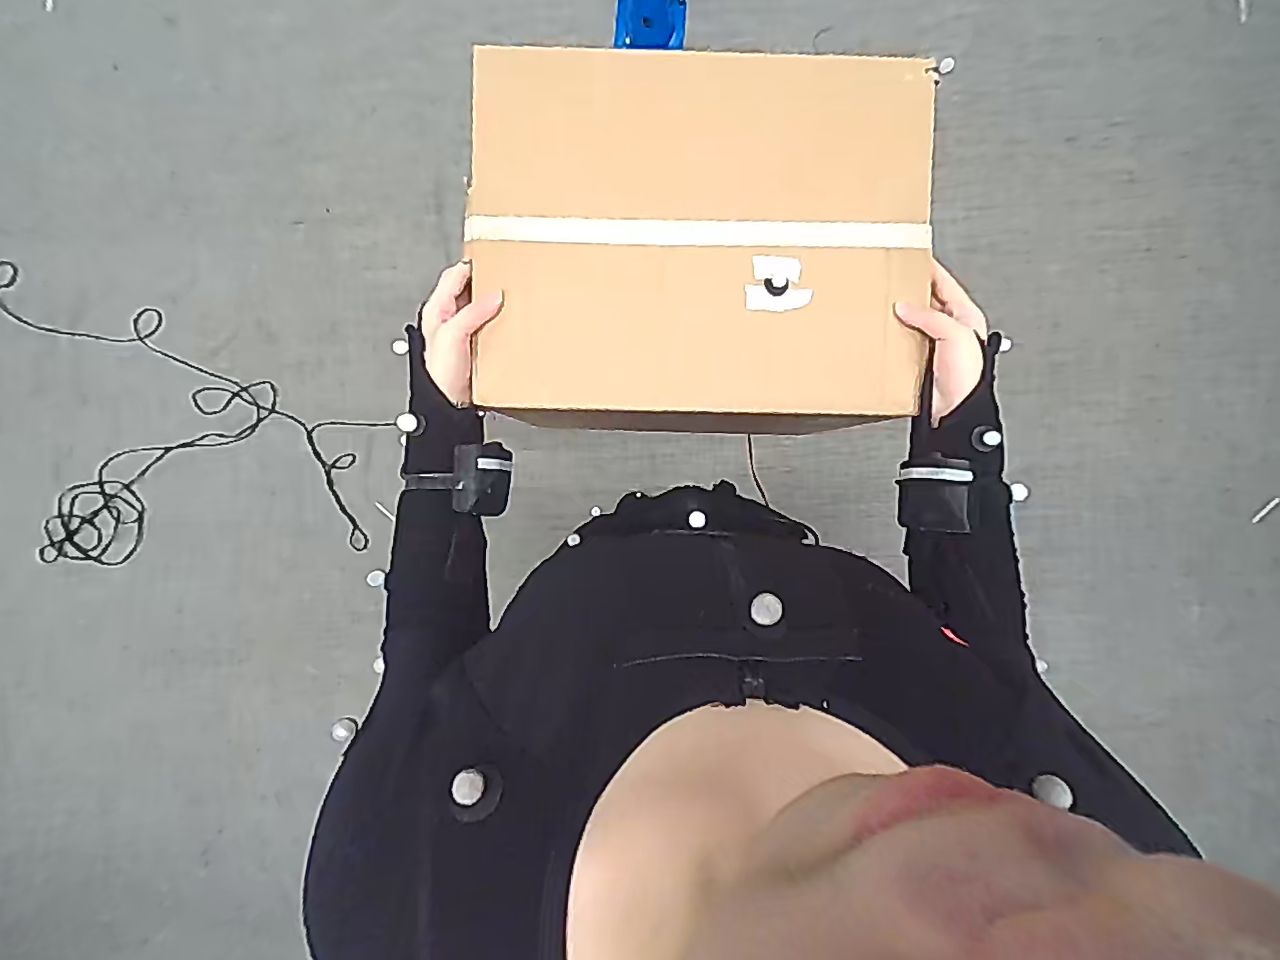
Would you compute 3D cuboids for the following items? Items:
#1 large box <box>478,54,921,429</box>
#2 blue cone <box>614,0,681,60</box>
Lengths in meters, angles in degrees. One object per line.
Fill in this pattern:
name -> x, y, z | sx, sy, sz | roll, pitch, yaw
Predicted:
large box -> 0.048, -0.226, 0.634 | 0.408, 0.320, 0.320 | 1, 92, -2
blue cone -> 0.018, -1.315, 1.399 | 0.193, 0.380, 0.192 | 6, 87, 2
